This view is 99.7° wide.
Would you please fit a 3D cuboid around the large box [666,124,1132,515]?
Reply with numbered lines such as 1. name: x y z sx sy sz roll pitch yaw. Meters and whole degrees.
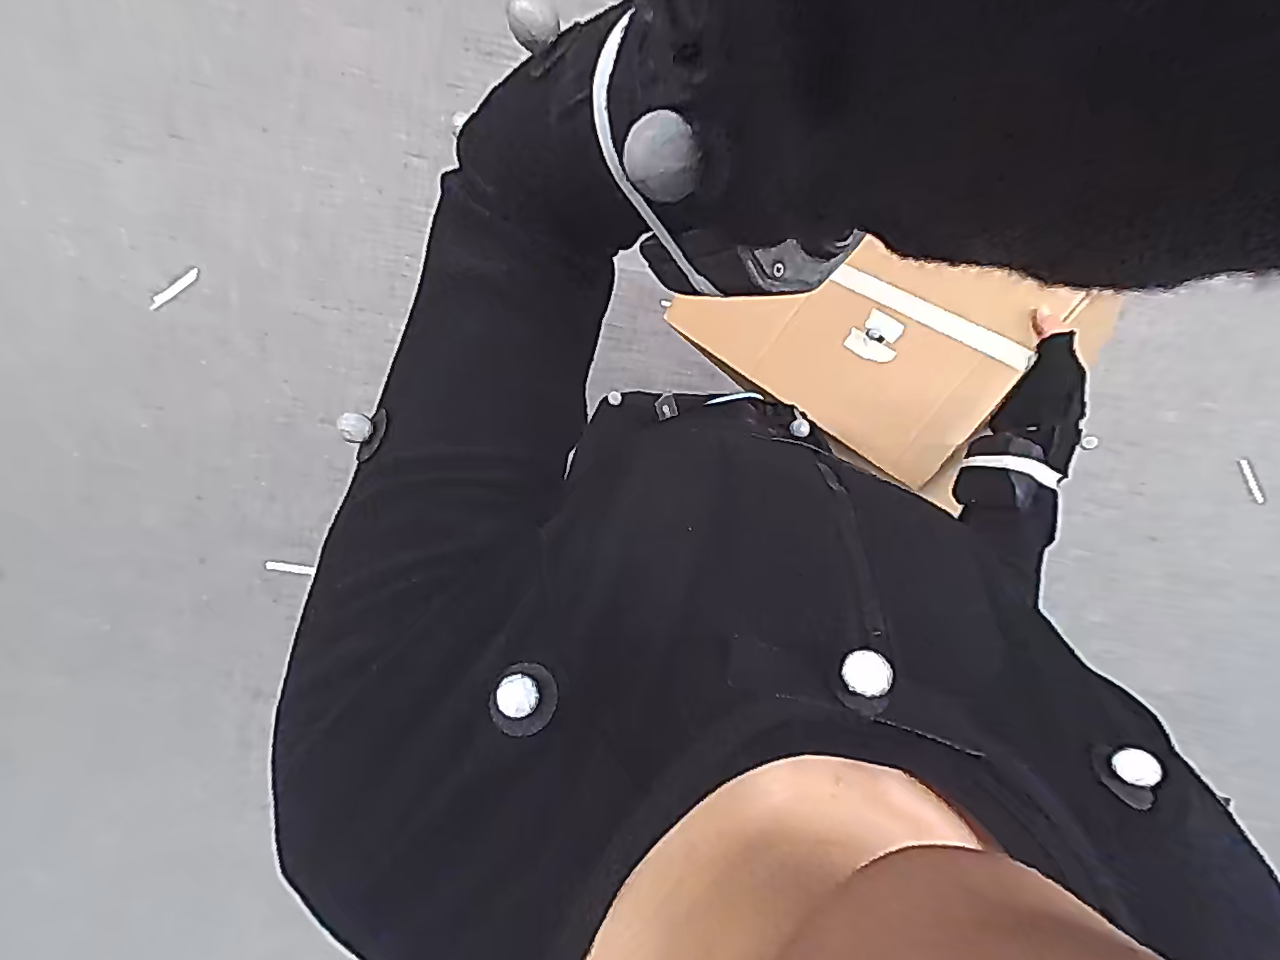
1. large box: 0.321 -0.203 0.756 0.408 0.320 0.320 44 104 30
